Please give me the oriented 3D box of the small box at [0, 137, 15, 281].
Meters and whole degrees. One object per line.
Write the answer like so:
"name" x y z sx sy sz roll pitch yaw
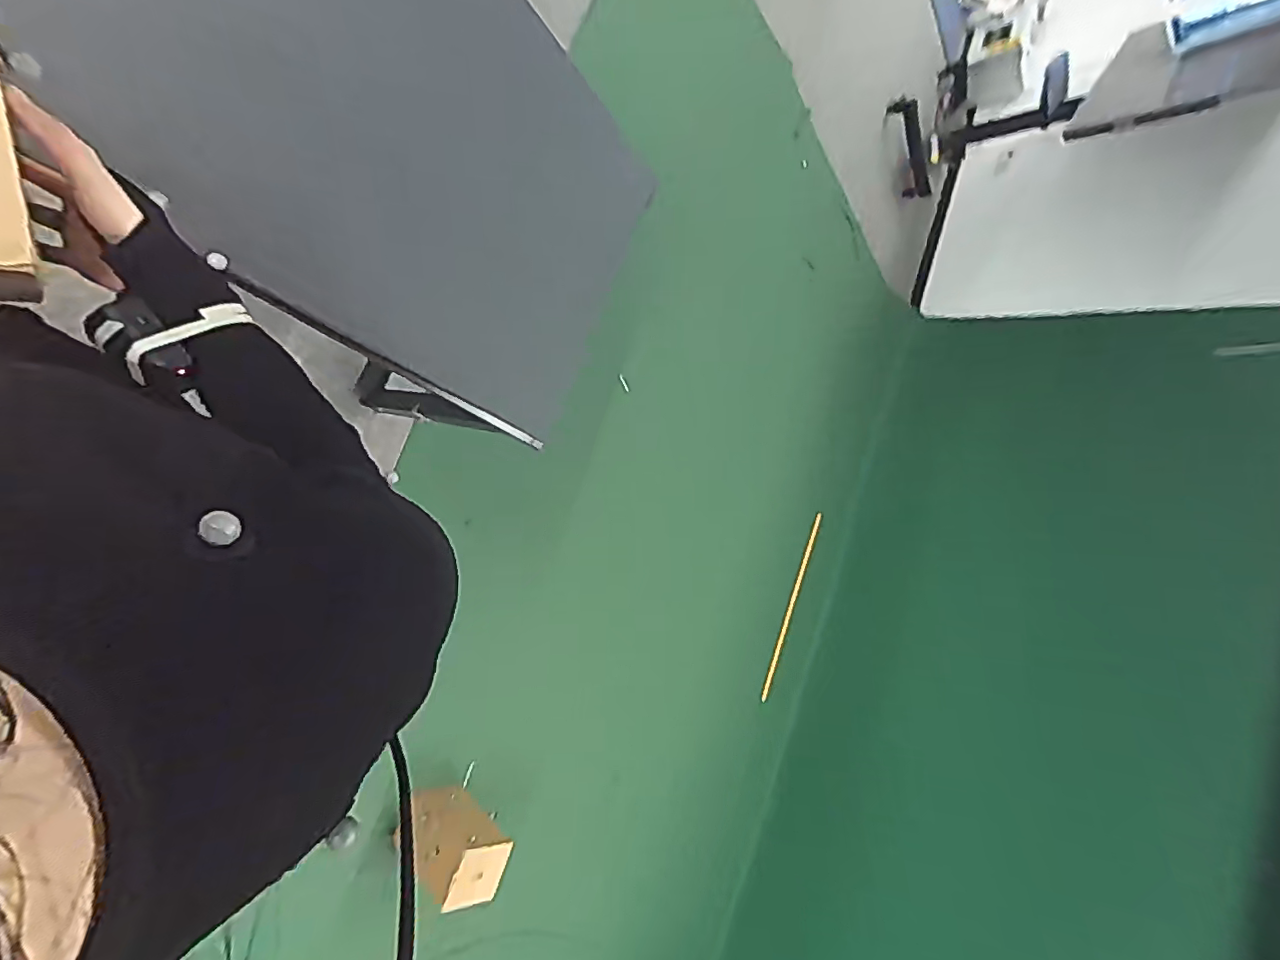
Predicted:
"small box" -0.465 -0.215 0.283 0.168 0.176 0.179 -9 103 -47

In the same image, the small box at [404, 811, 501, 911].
"small box" -0.547 1.097 1.575 0.179 0.176 0.168 31 77 -47
